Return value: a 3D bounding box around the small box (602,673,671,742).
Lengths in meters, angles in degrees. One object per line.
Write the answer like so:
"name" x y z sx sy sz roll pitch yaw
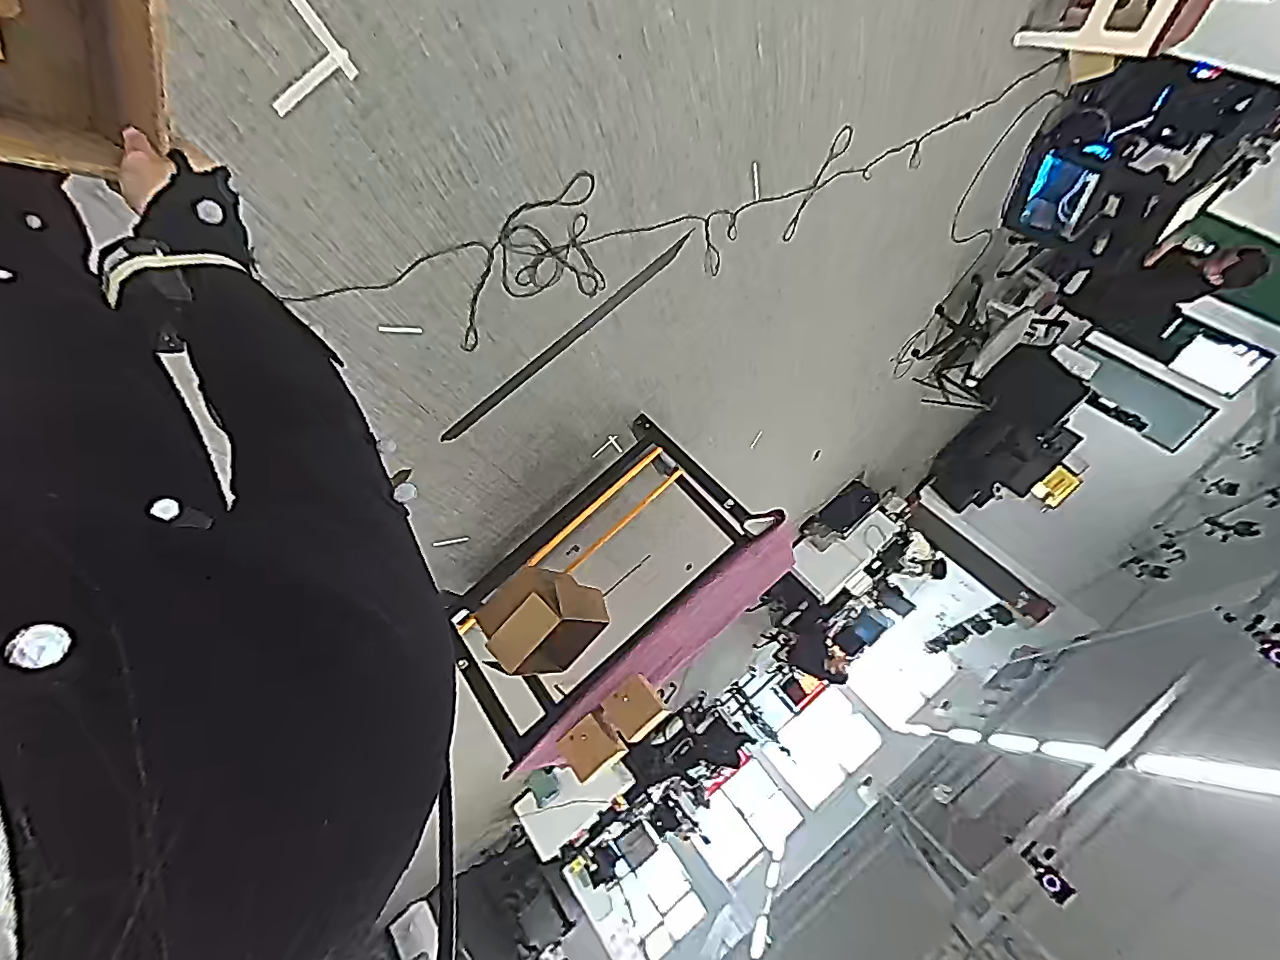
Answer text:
"small box" -0.012 0.829 1.974 0.168 0.176 0.179 -40 153 -7

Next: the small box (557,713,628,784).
"small box" -0.171 0.967 1.959 0.168 0.176 0.179 -40 153 -7
